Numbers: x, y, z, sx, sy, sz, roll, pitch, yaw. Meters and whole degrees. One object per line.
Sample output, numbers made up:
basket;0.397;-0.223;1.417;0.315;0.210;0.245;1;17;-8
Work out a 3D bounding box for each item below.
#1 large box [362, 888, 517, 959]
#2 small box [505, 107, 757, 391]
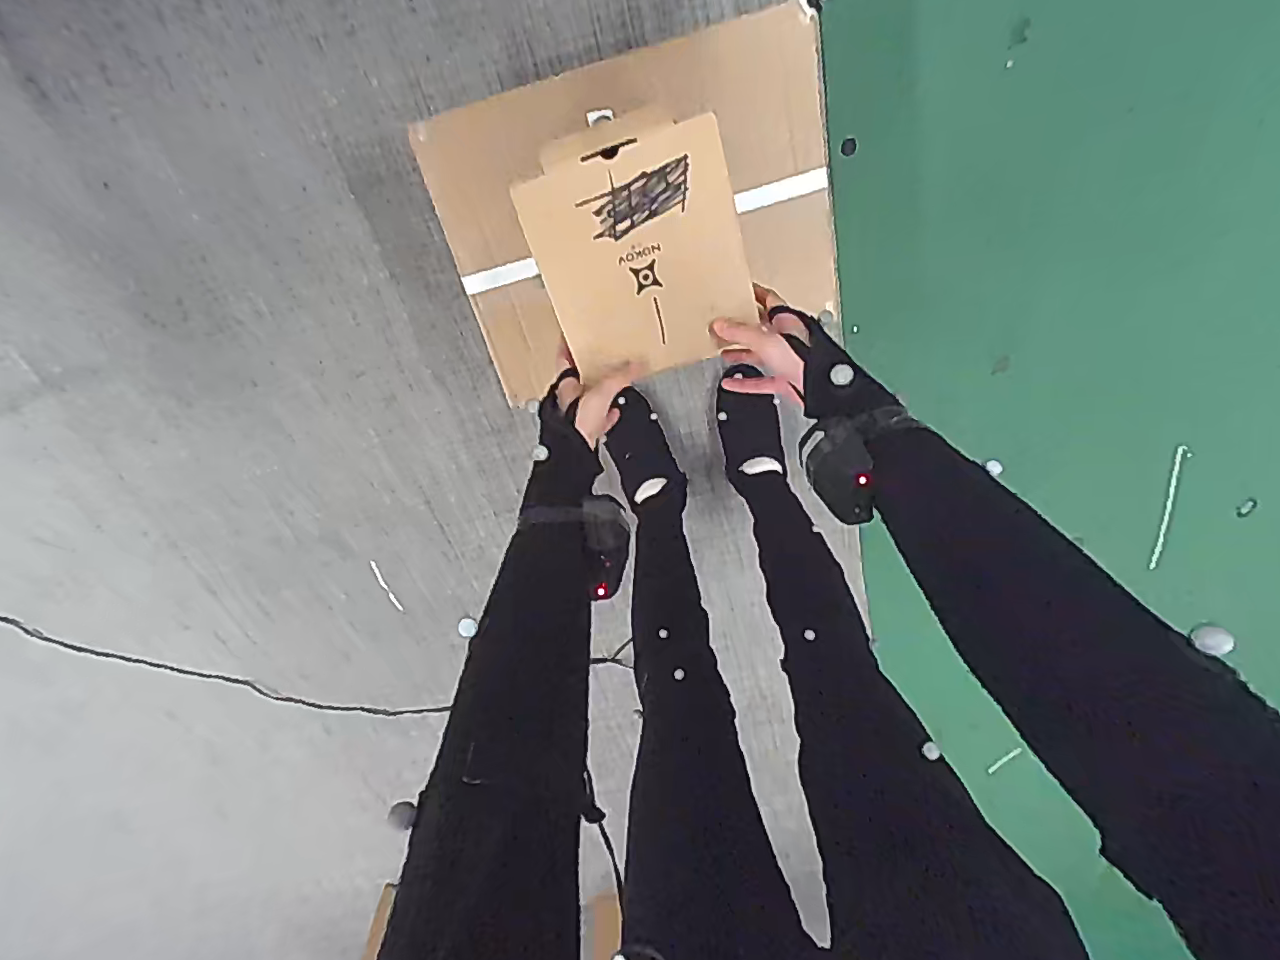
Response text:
large box;-0.602;1.462;1.585;0.408;0.320;0.320;13;115;-8
small box;-0.007;-0.210;0.507;0.168;0.176;0.179;-18;117;5
